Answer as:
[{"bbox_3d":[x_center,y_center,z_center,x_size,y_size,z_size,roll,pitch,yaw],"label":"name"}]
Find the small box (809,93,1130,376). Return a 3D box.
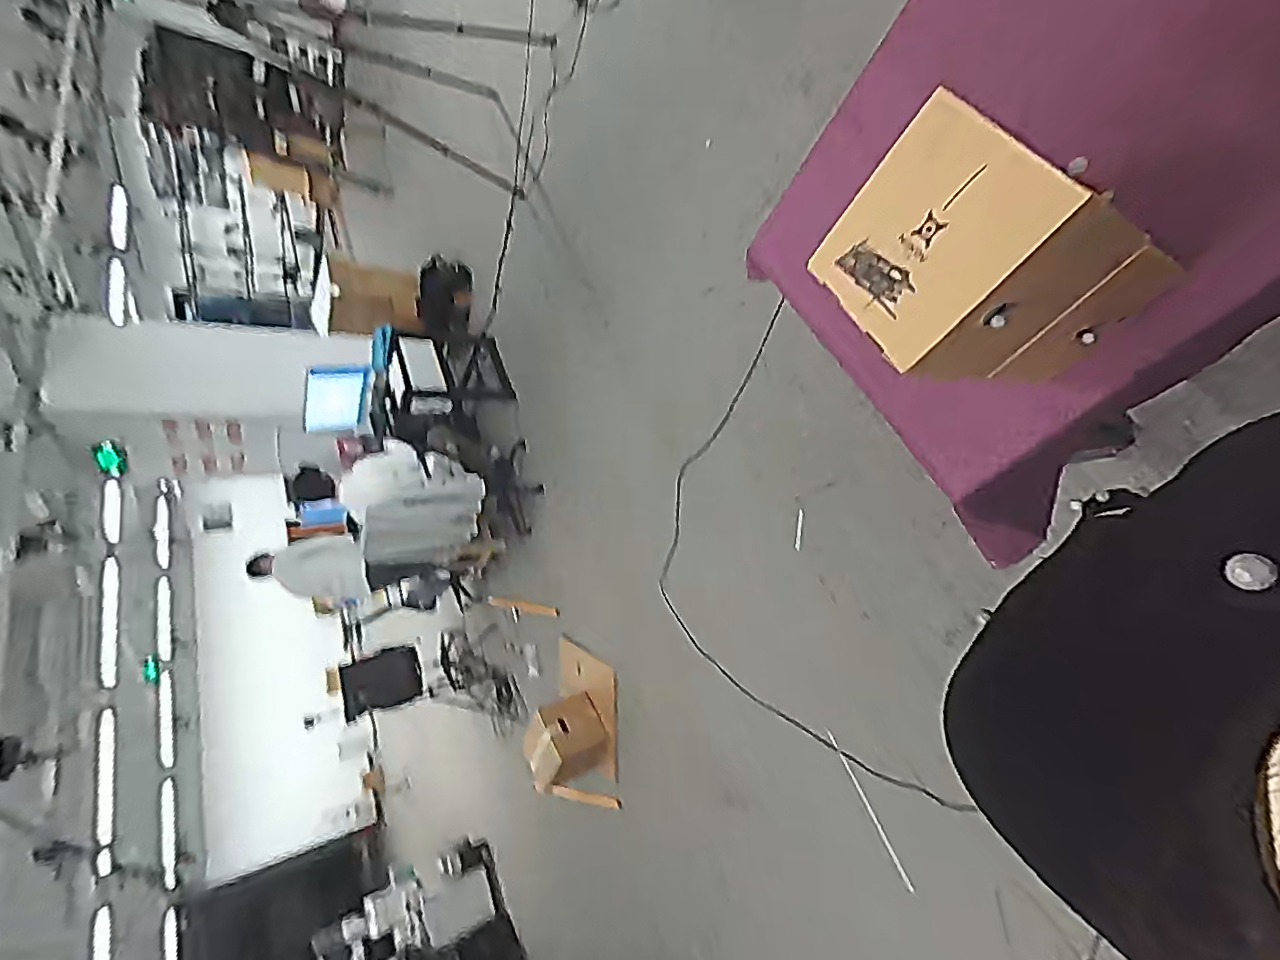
[{"bbox_3d":[0.311,-0.218,0.525,0.179,0.176,0.168,-53,53,41],"label":"small box"}]

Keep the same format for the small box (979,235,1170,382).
[{"bbox_3d":[0.444,-0.230,0.621,0.168,0.176,0.179,-53,52,42],"label":"small box"}]
